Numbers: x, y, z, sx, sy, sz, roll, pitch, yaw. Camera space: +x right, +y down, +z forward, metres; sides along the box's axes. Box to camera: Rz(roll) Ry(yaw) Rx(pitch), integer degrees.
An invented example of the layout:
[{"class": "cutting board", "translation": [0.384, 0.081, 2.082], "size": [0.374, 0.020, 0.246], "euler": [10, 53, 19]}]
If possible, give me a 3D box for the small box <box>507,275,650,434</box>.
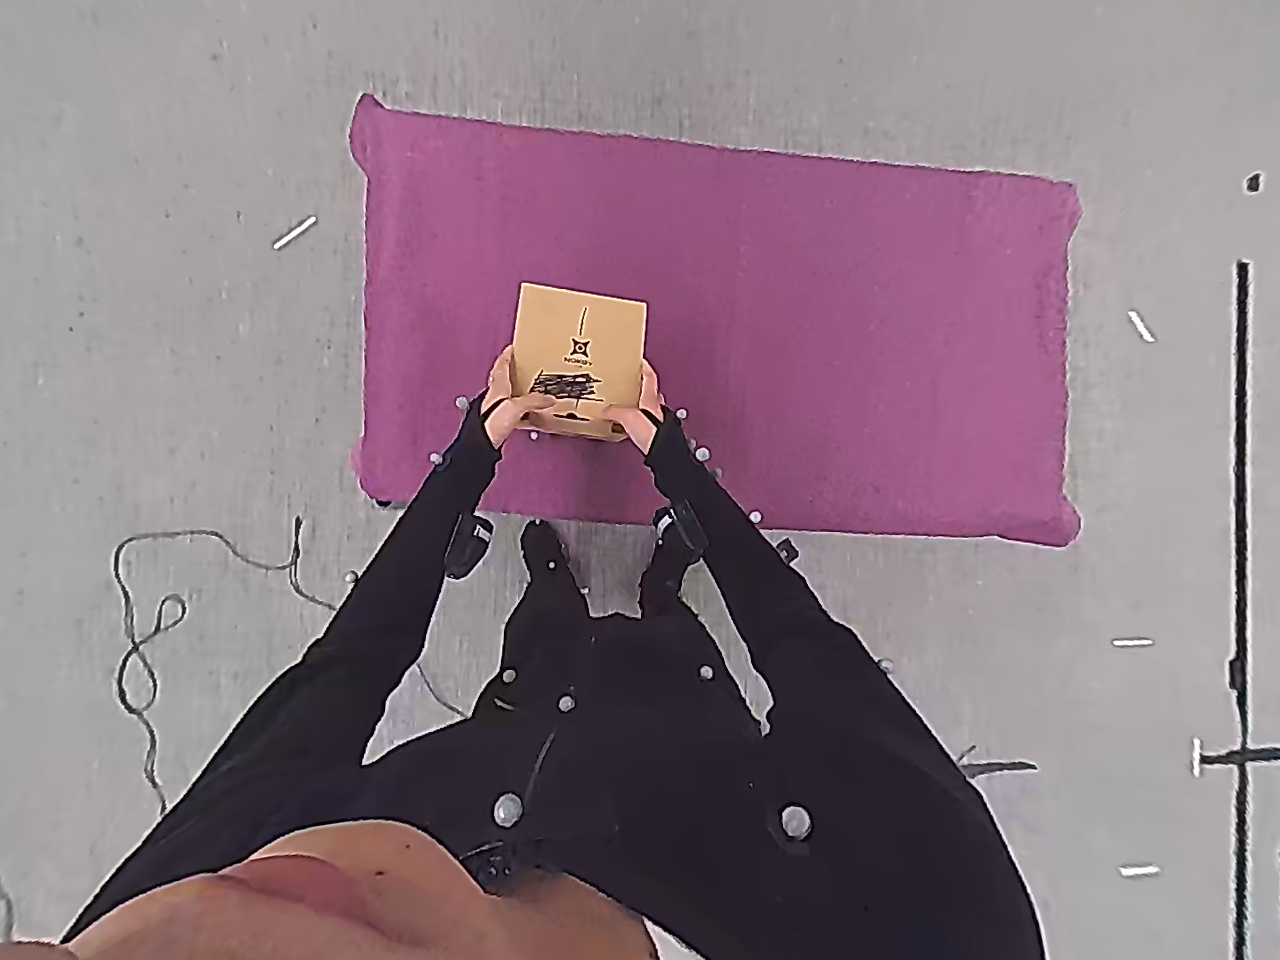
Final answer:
[{"class": "small box", "translation": [-0.089, -0.164, 0.771], "size": [0.168, 0.176, 0.179], "euler": [7, 90, -9]}]
